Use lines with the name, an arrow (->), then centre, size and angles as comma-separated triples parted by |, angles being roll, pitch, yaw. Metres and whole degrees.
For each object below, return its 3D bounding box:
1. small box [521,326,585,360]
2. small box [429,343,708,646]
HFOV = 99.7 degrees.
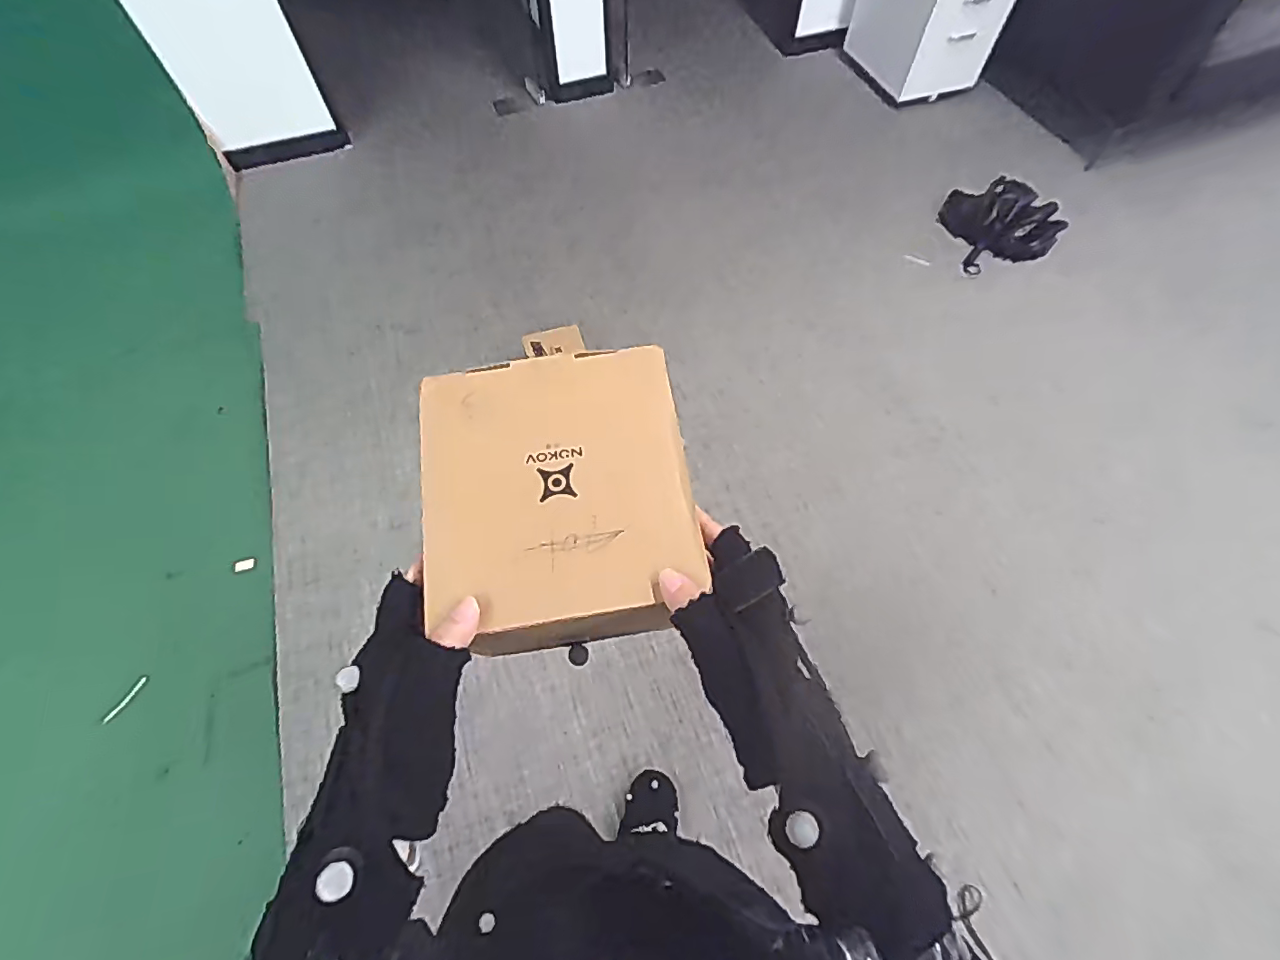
small box -> -0.251, -0.340, 1.666 | 0.179, 0.176, 0.168 | -16, 63, -9
small box -> -0.053, 0.022, 0.421 | 0.168, 0.176, 0.179 | -9, 70, -4
